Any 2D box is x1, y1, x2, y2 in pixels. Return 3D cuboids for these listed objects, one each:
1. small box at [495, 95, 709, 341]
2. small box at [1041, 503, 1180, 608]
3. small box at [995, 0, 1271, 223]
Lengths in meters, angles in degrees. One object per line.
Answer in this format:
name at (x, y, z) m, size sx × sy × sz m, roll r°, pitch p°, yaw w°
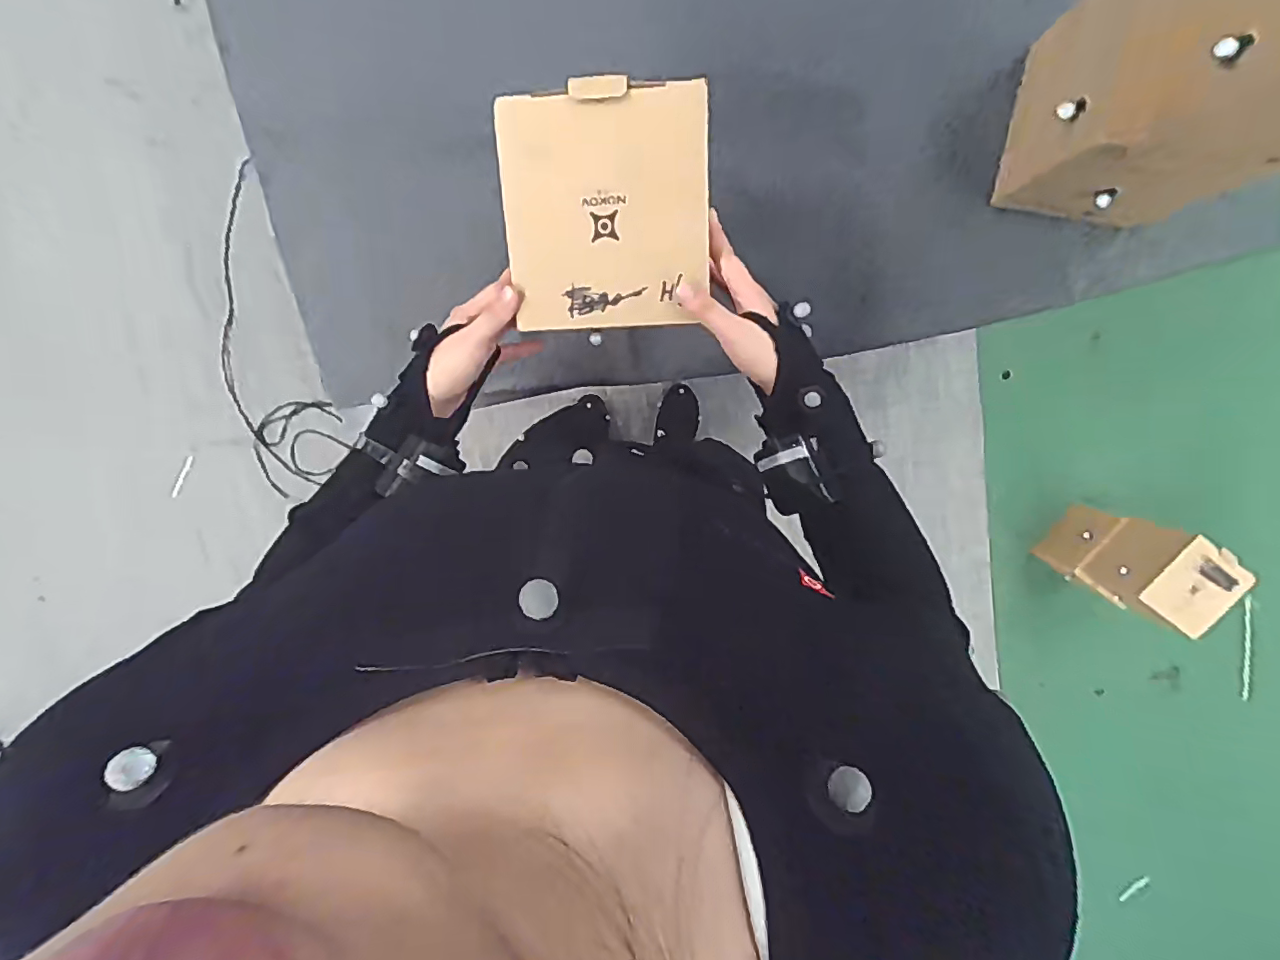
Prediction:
small box at (-0.022, -0.224, 0.506) m, size 0.168 × 0.176 × 0.179 m, roll 0°, pitch 107°, yaw 6°
small box at (1.170, 0.184, 1.368) m, size 0.168 × 0.176 × 0.179 m, roll 35°, pitch 101°, yaw -3°
small box at (0.500, -0.379, 0.545) m, size 0.168 × 0.176 × 0.179 m, roll 9°, pitch 99°, yaw 1°
